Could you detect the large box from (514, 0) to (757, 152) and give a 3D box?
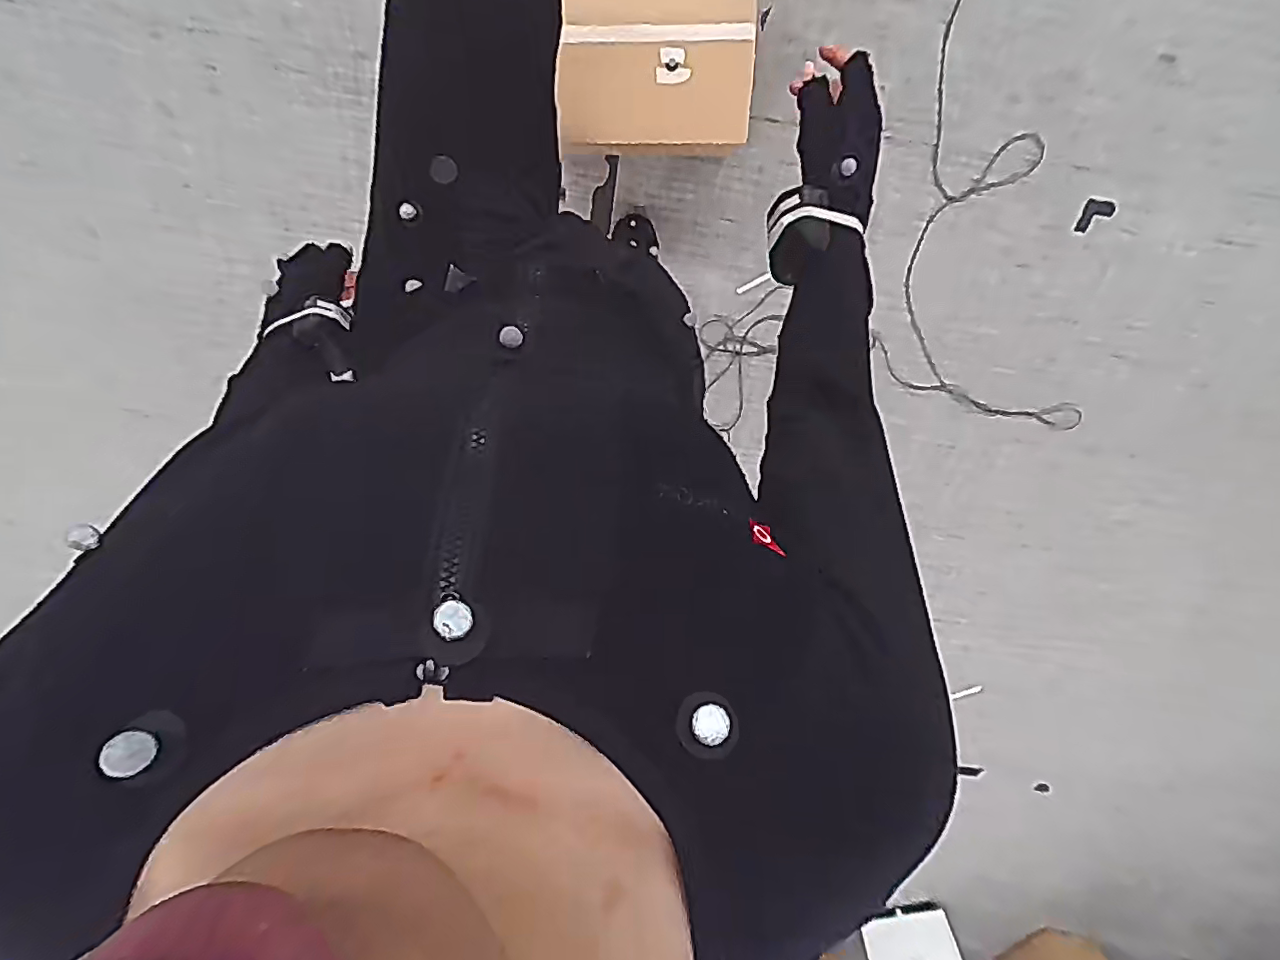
[{"bbox_3d":[-0.005,-0.820,1.026,0.408,0.320,0.320,1,118,1],"label":"large box"}]
